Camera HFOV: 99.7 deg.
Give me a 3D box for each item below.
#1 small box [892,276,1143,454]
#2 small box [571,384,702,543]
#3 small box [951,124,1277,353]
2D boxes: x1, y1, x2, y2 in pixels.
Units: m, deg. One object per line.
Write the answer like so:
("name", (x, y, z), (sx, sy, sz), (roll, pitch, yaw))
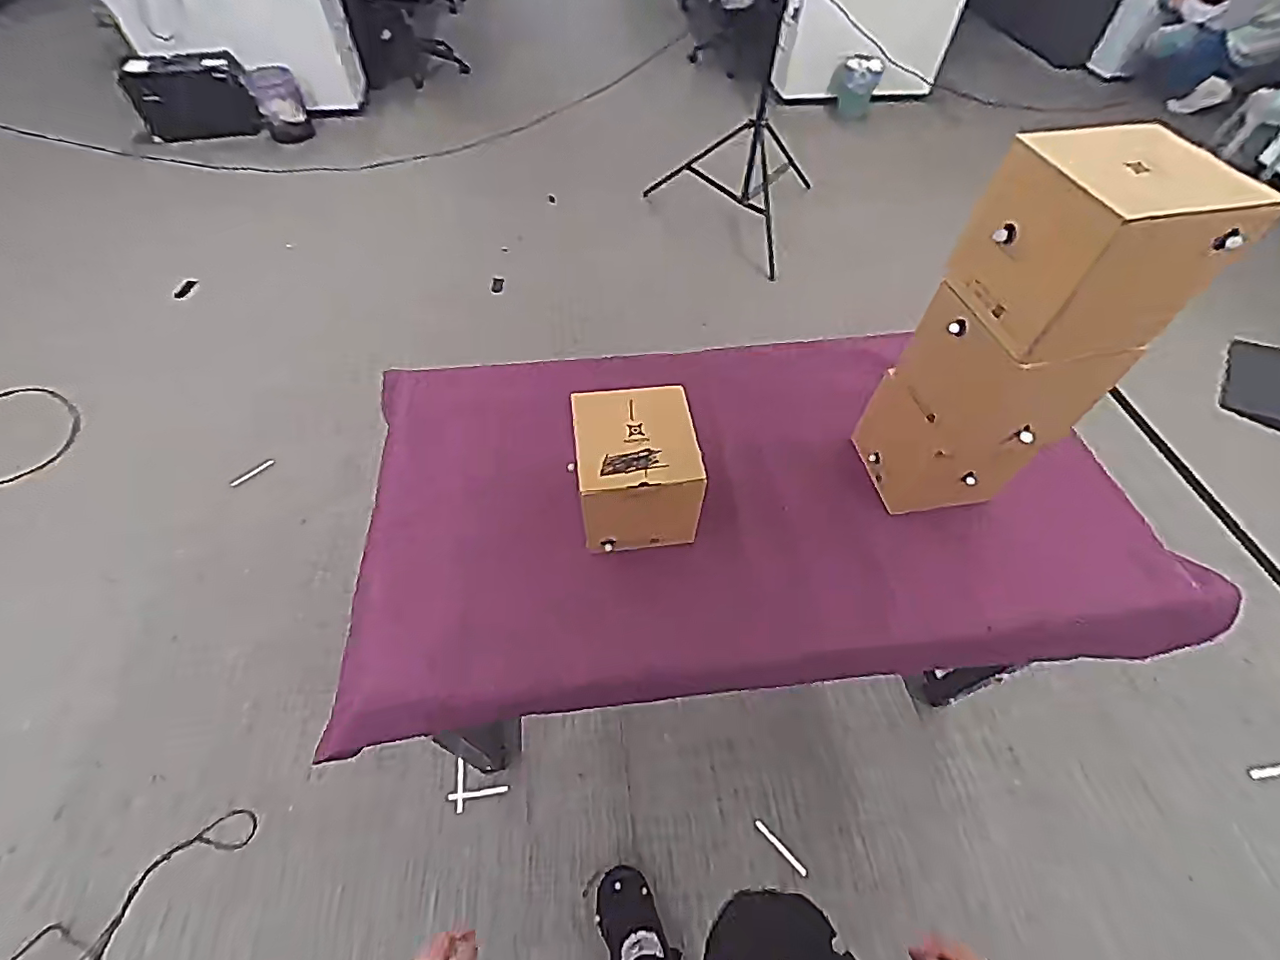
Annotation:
("small box", (0.476, -0.155, 0.717), (0.179, 0.176, 0.168), (-9, 55, -9))
("small box", (-0.010, -0.017, 0.802), (0.168, 0.176, 0.179), (-5, 54, -6))
("small box", (0.478, -0.256, 0.588), (0.179, 0.176, 0.168), (-9, 55, -8))
